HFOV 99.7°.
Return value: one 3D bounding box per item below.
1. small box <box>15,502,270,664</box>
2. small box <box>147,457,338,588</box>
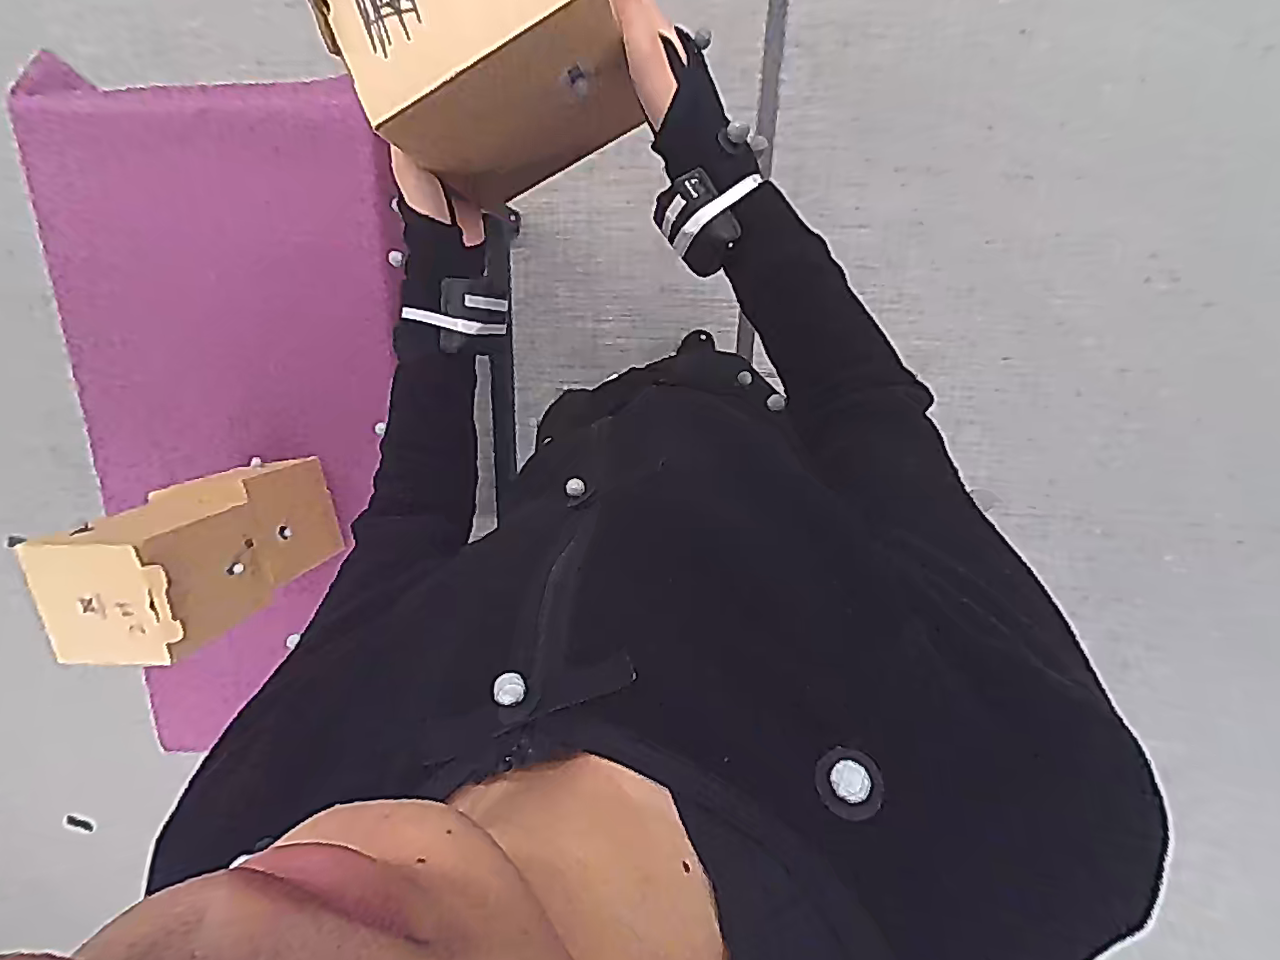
[{"bbox_3d":[-0.664,0.133,0.744,0.179,0.176,0.168,-2,105,7],"label":"small box"},{"bbox_3d":[-0.640,0.070,0.896,0.168,0.176,0.179,-7,103,8],"label":"small box"}]
